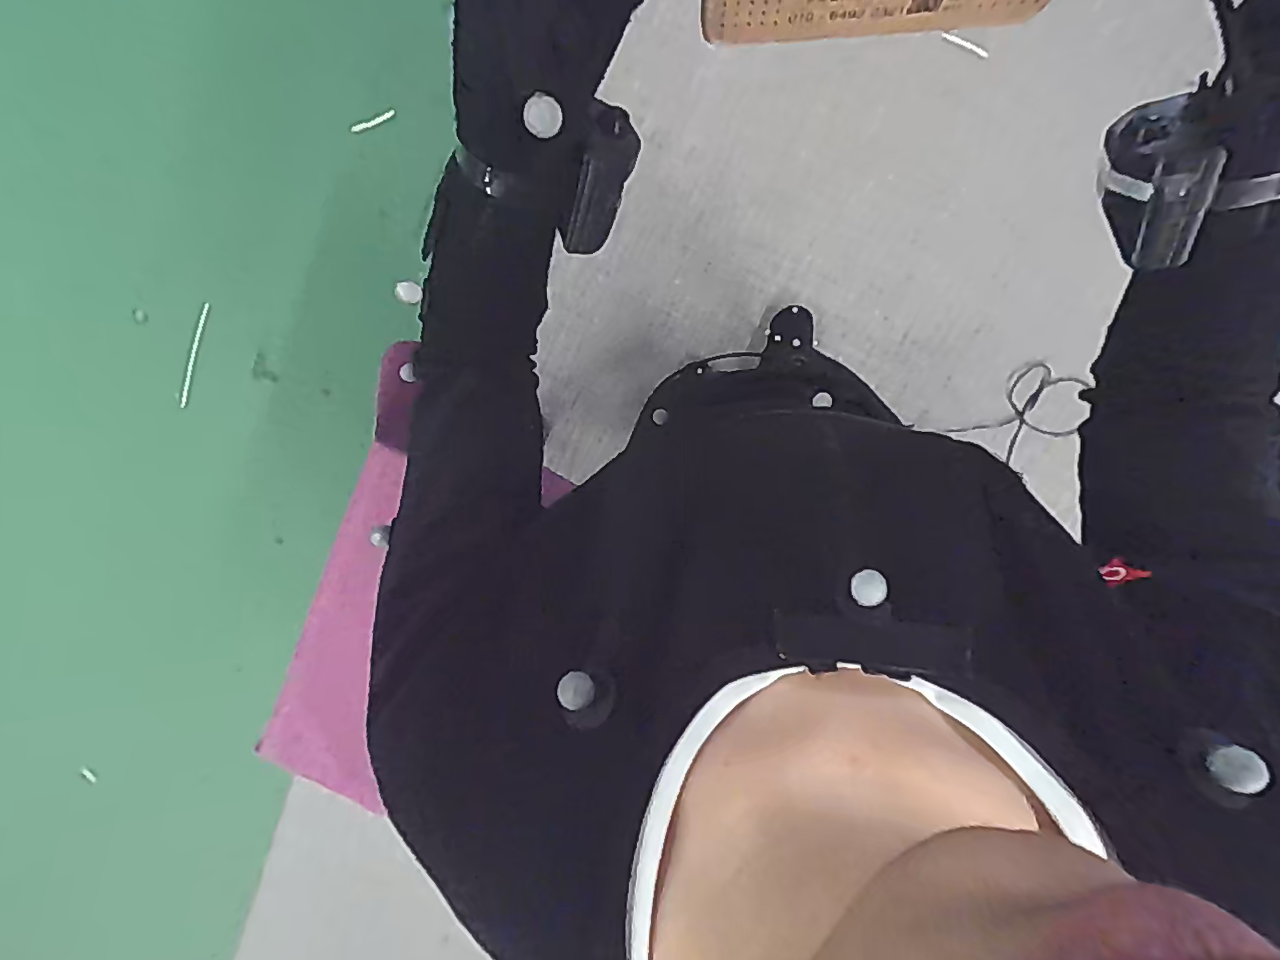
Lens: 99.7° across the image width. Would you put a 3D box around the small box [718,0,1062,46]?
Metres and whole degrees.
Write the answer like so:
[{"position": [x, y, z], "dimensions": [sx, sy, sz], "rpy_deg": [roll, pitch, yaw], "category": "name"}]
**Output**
[{"position": [0.113, -0.299, 0.183], "dimensions": [0.168, 0.176, 0.179], "rpy_deg": [1, 94, 5], "category": "small box"}]
